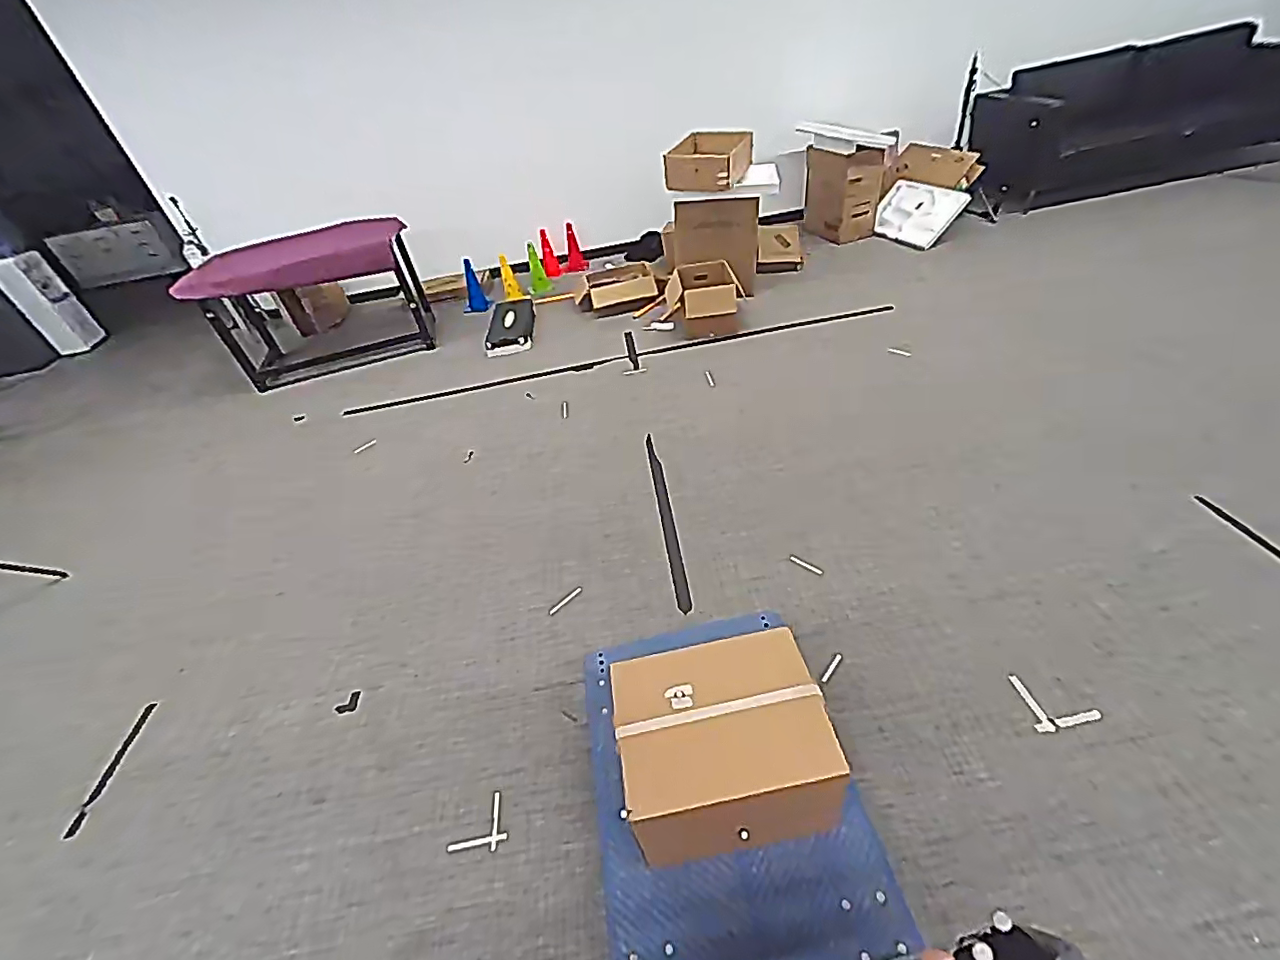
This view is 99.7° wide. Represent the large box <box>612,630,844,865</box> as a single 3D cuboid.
[{"bbox_3d":[0.180,0.582,1.181,0.408,0.320,0.320,-13,39,-1],"label":"large box"}]
